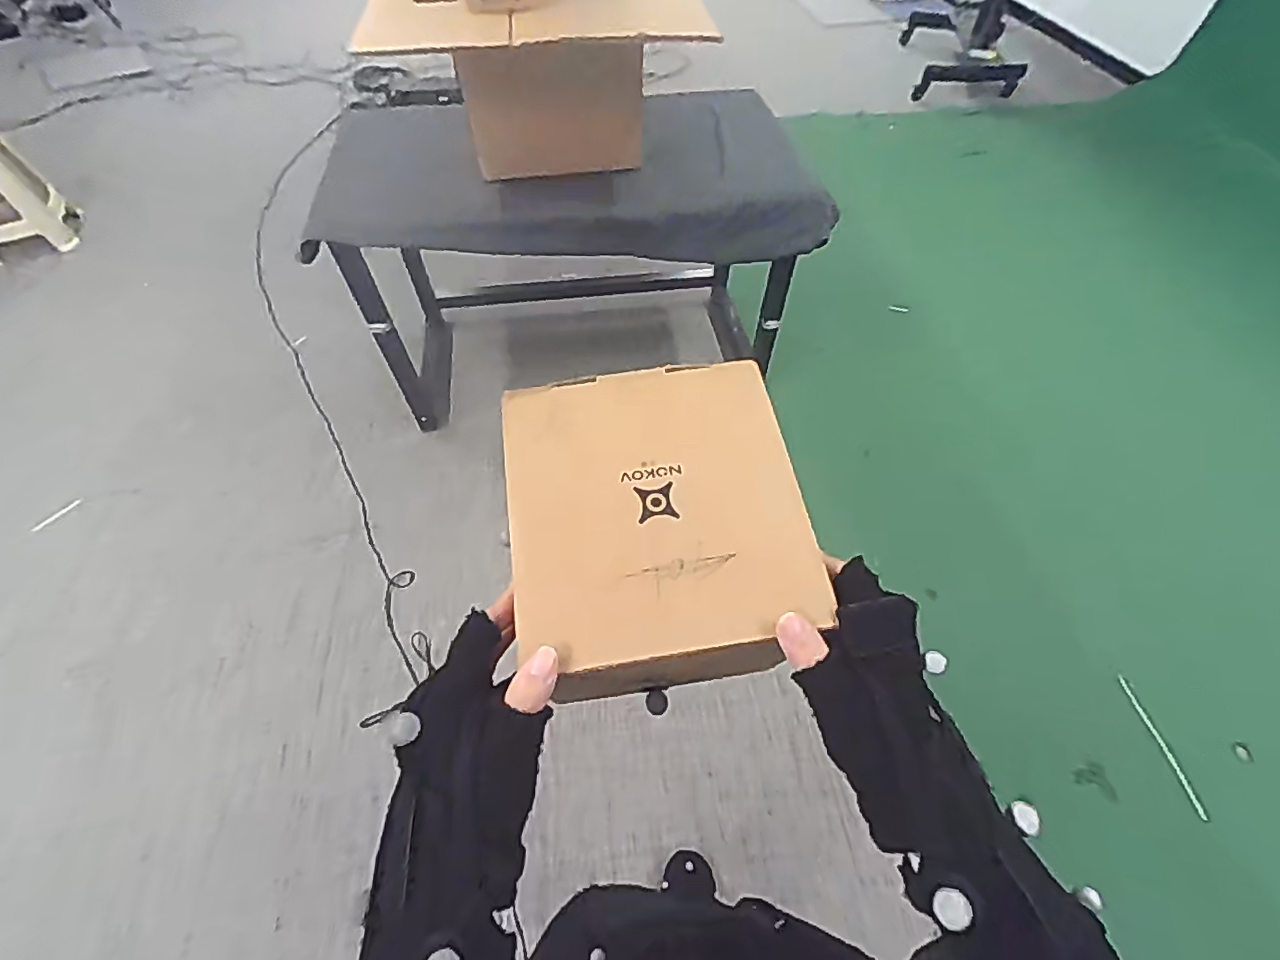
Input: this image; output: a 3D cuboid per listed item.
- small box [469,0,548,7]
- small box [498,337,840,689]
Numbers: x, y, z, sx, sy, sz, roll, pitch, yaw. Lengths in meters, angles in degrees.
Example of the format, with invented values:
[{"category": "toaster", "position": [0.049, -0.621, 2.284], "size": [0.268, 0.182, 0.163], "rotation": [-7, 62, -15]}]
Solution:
[{"category": "small box", "position": [-0.270, -1.054, 1.054], "size": [0.168, 0.176, 0.179], "rotation": [-7, 56, -3]}, {"category": "small box", "position": [0.005, 0.032, 0.368], "size": [0.168, 0.176, 0.179], "rotation": [-8, 65, -5]}]
